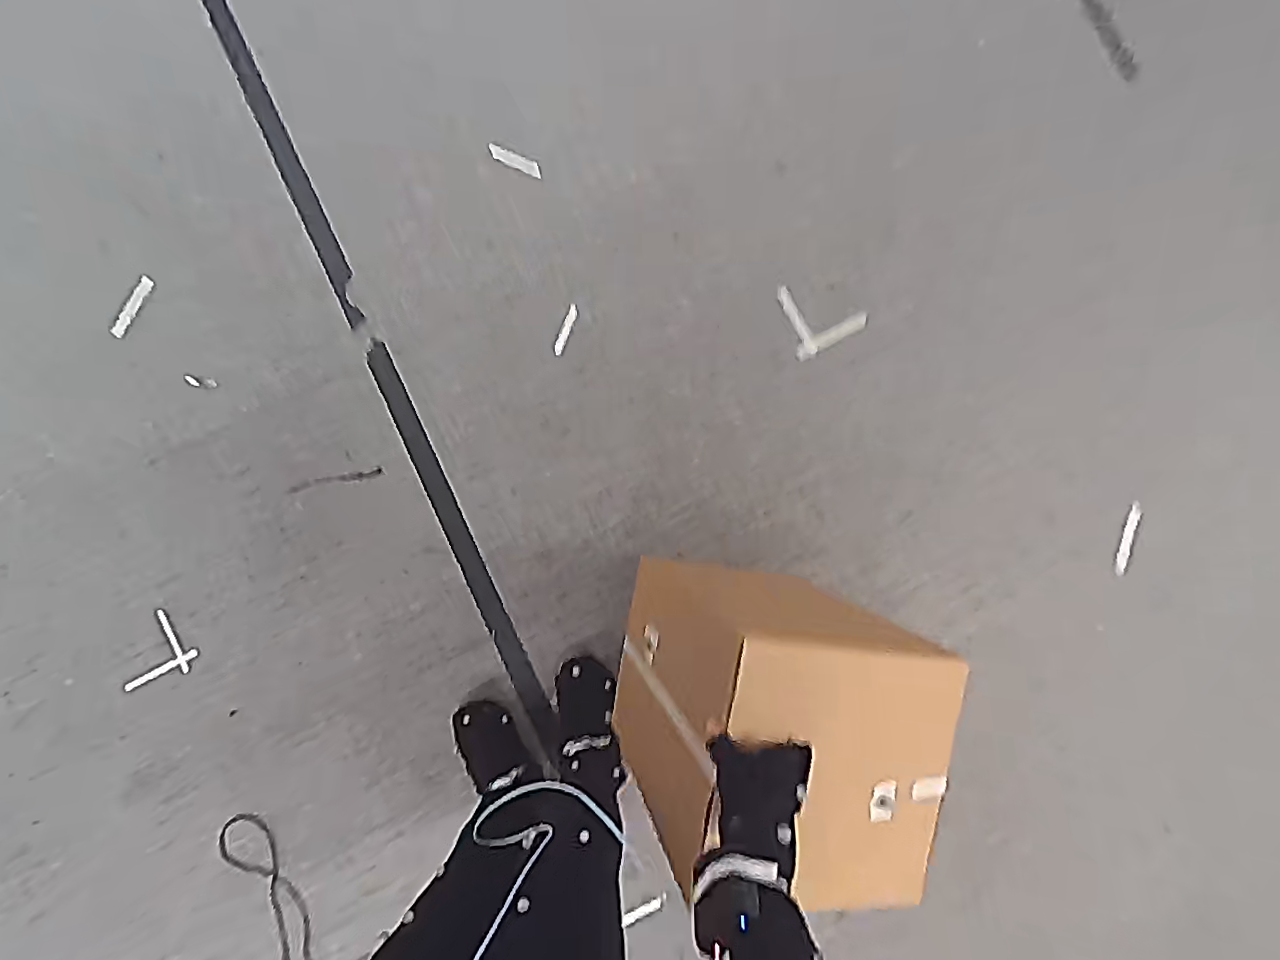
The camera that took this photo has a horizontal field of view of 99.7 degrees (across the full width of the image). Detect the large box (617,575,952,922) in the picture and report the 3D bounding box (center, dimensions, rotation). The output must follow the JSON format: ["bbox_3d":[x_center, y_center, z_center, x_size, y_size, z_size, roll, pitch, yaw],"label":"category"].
[{"bbox_3d":[0.175,0.349,0.814,0.320,0.408,0.320,10,92,-15],"label":"large box"}]
